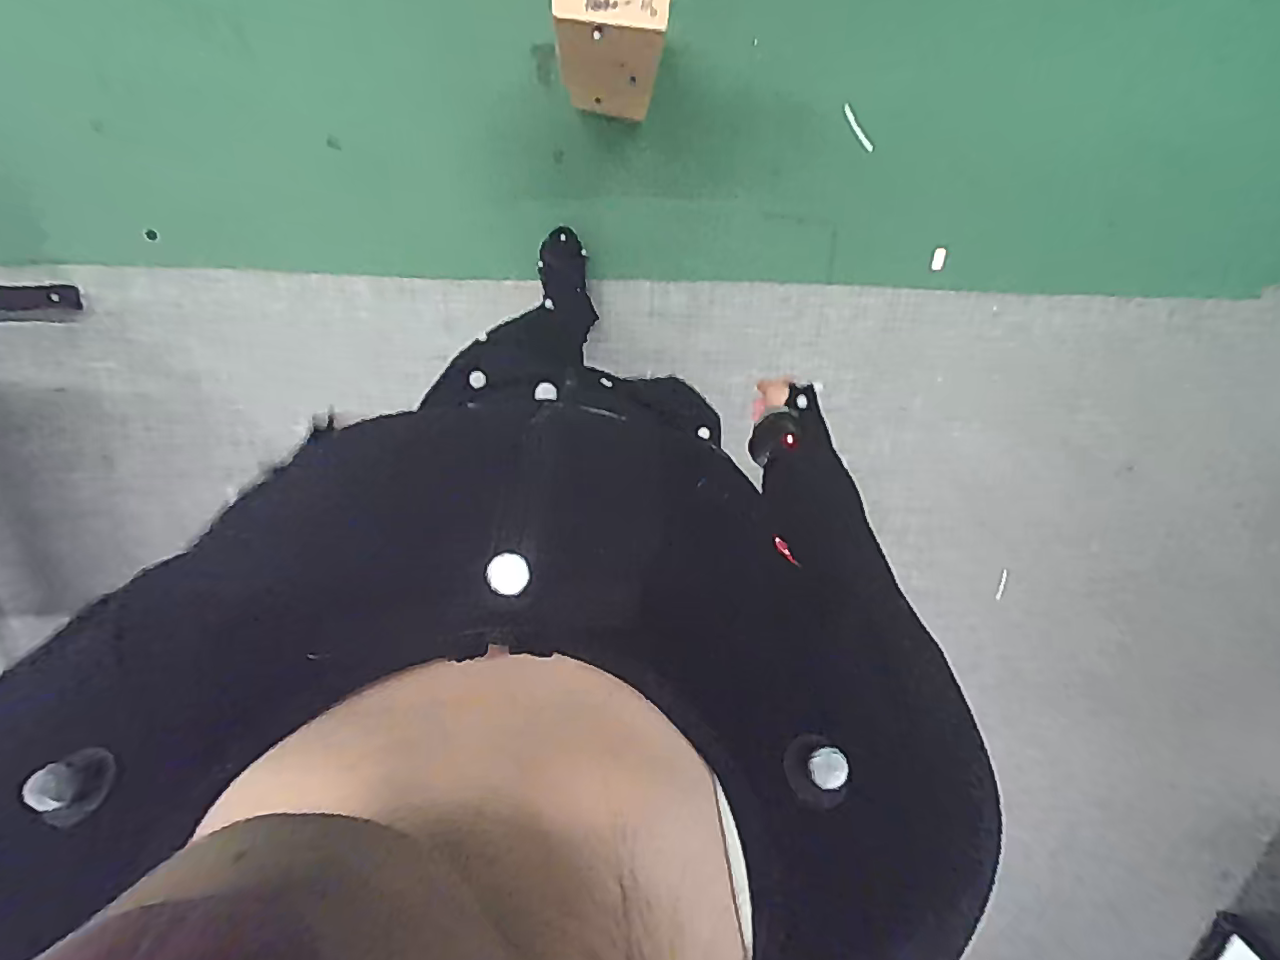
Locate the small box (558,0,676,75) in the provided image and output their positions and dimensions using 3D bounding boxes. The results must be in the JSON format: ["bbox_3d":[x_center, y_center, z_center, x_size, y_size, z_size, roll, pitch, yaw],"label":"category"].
[{"bbox_3d":[-0.034,-0.745,0.805,0.168,0.176,0.179,3,110,-6],"label":"small box"}]

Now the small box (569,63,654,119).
[{"bbox_3d":[-0.049,-0.871,1.108,0.168,0.176,0.179,7,110,-7],"label":"small box"}]
